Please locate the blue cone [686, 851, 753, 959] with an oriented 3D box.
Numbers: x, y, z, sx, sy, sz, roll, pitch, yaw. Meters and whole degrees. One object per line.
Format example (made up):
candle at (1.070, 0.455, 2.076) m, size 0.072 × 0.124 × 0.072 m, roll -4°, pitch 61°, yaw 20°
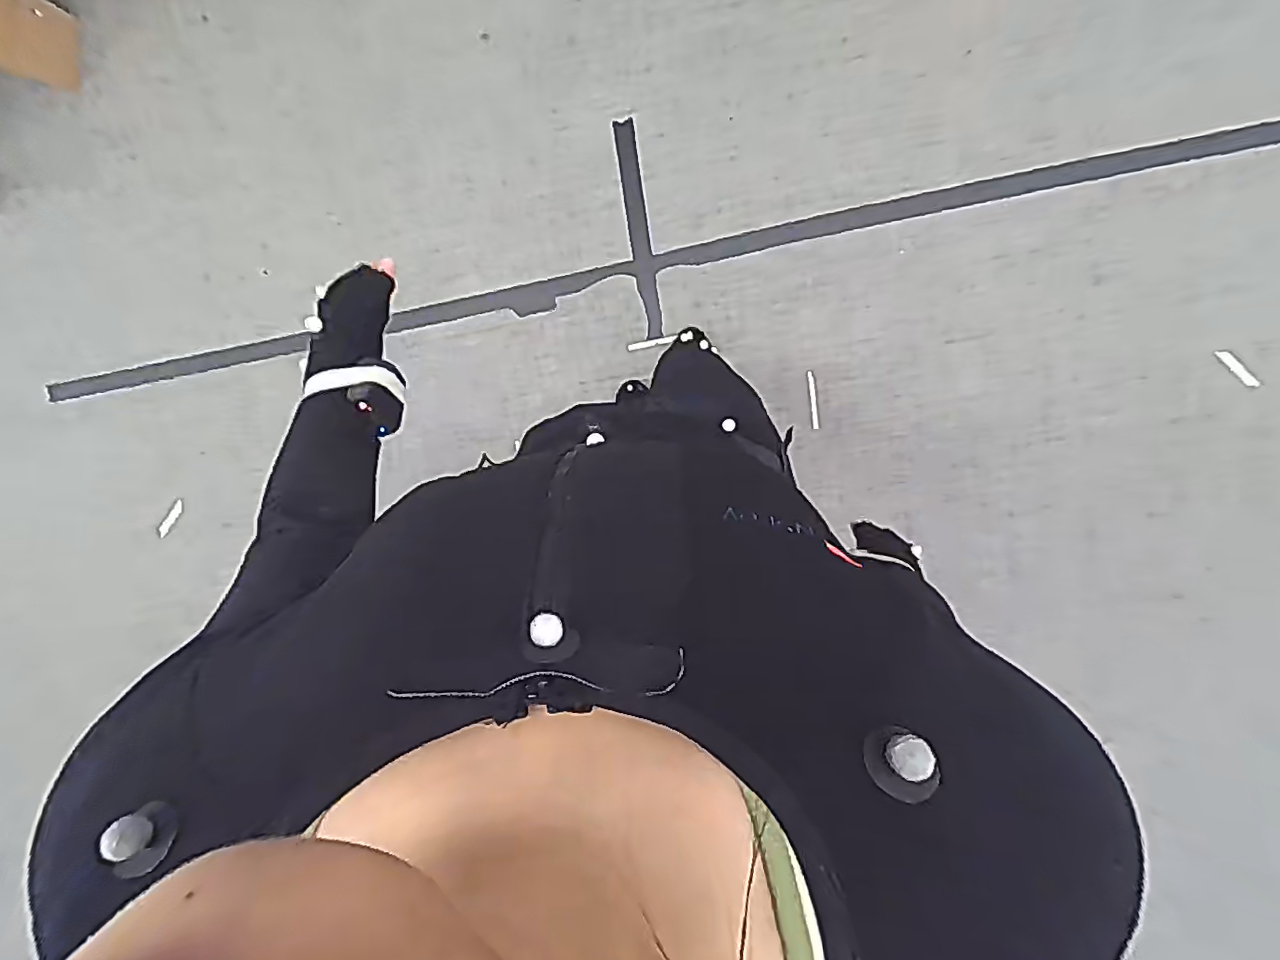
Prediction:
blue cone at (0.236, 1.273, 1.519) m, size 0.193 × 0.380 × 0.192 m, roll -10°, pitch 101°, yaw 7°
